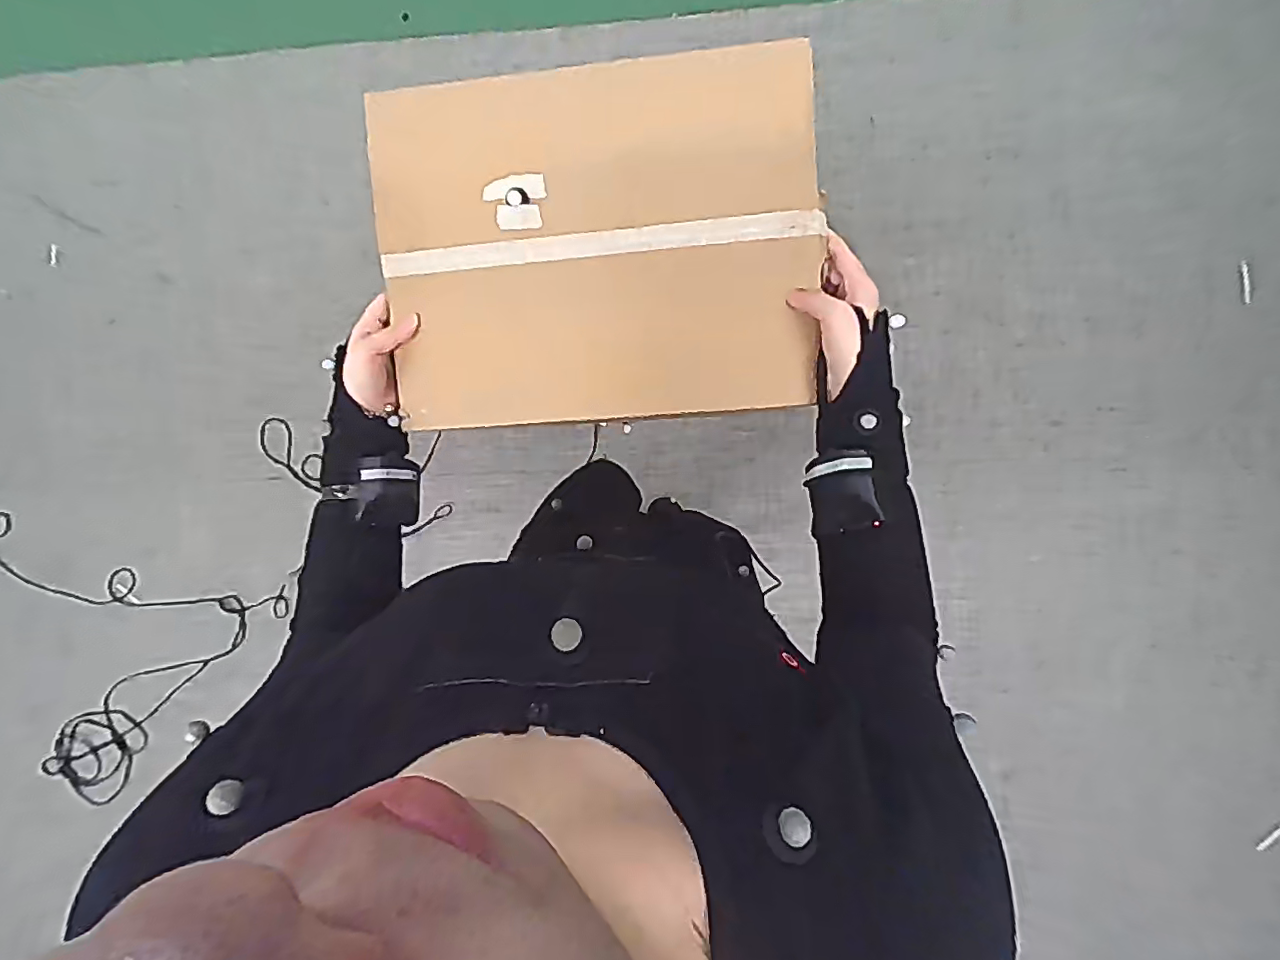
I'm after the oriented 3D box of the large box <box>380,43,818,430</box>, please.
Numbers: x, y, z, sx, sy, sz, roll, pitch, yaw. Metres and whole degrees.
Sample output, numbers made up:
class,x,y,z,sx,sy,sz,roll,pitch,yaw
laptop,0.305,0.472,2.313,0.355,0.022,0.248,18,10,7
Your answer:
class,x,y,z,sx,sy,sz,roll,pitch,yaw
large box,-0.024,-0.235,0.658,0.408,0.320,0.320,-4,96,7
